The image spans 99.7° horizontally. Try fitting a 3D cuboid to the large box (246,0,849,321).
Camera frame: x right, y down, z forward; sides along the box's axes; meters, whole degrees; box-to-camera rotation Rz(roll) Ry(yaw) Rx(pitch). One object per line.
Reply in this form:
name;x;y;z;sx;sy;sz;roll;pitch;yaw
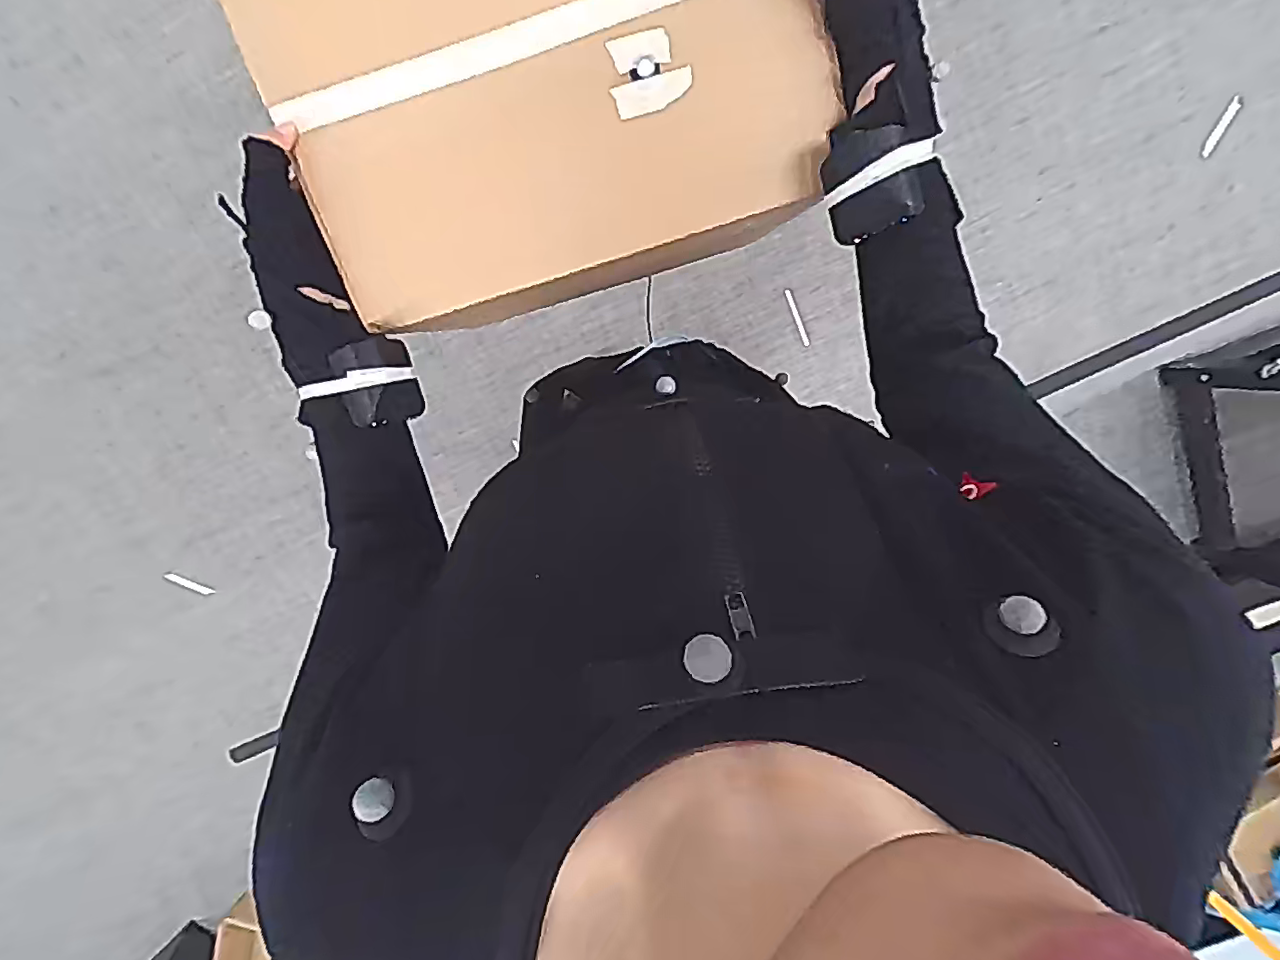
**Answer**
large box;-0.074;-0.368;0.535;0.408;0.320;0.320;-17;108;2
